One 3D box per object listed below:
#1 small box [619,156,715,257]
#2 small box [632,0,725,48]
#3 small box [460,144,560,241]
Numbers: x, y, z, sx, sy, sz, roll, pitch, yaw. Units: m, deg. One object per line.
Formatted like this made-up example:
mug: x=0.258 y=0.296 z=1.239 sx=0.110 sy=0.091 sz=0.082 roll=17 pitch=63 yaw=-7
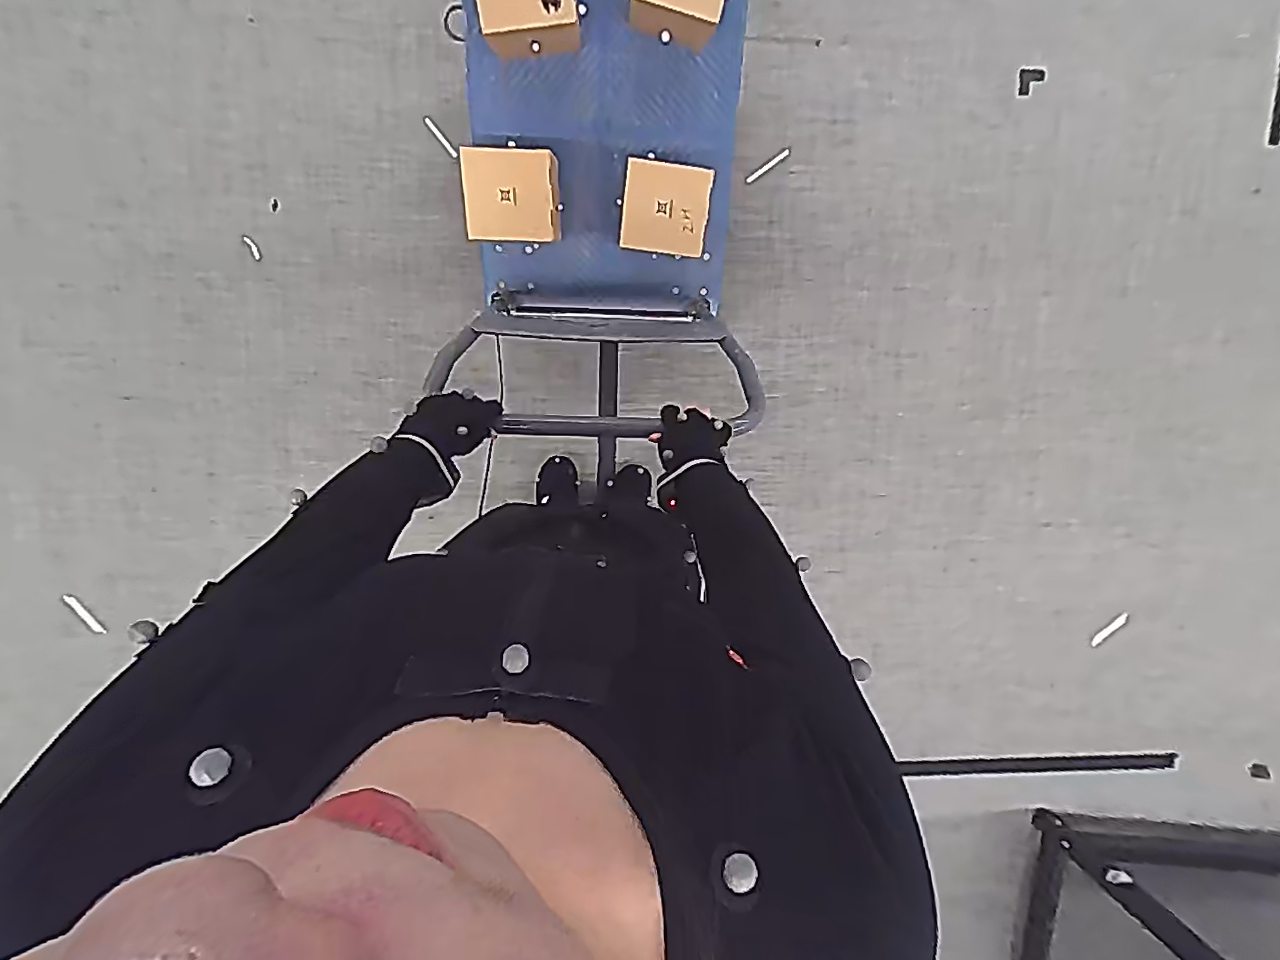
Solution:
small box: x=0.050 y=-0.583 z=1.167 sx=0.179 sy=0.176 sz=0.168 roll=6 pitch=114 yaw=-5
small box: x=0.081 y=-0.950 z=1.002 sx=0.168 sy=0.176 sz=0.179 roll=11 pitch=114 yaw=-8
small box: x=-0.267 y=-0.600 z=1.146 sx=0.179 sy=0.176 sz=0.168 roll=-1 pitch=114 yaw=-4
